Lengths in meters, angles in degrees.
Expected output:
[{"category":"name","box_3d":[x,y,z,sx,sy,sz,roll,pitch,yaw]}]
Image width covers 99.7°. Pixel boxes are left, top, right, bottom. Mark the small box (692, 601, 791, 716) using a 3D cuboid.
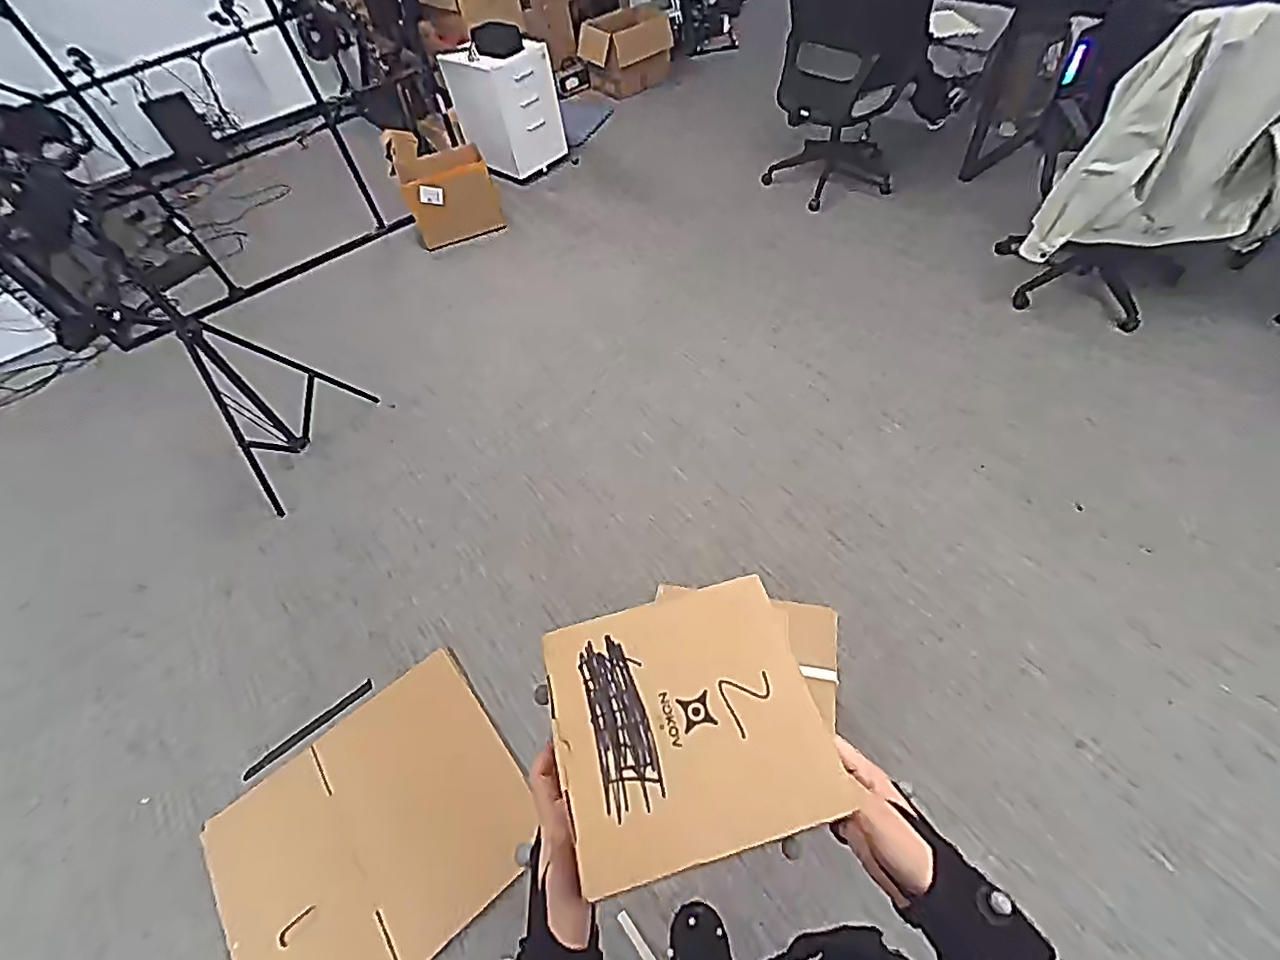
[{"category":"small box","box_3d":[0.201,0.358,1.073,0.179,0.176,0.168,4,56,10]}]
